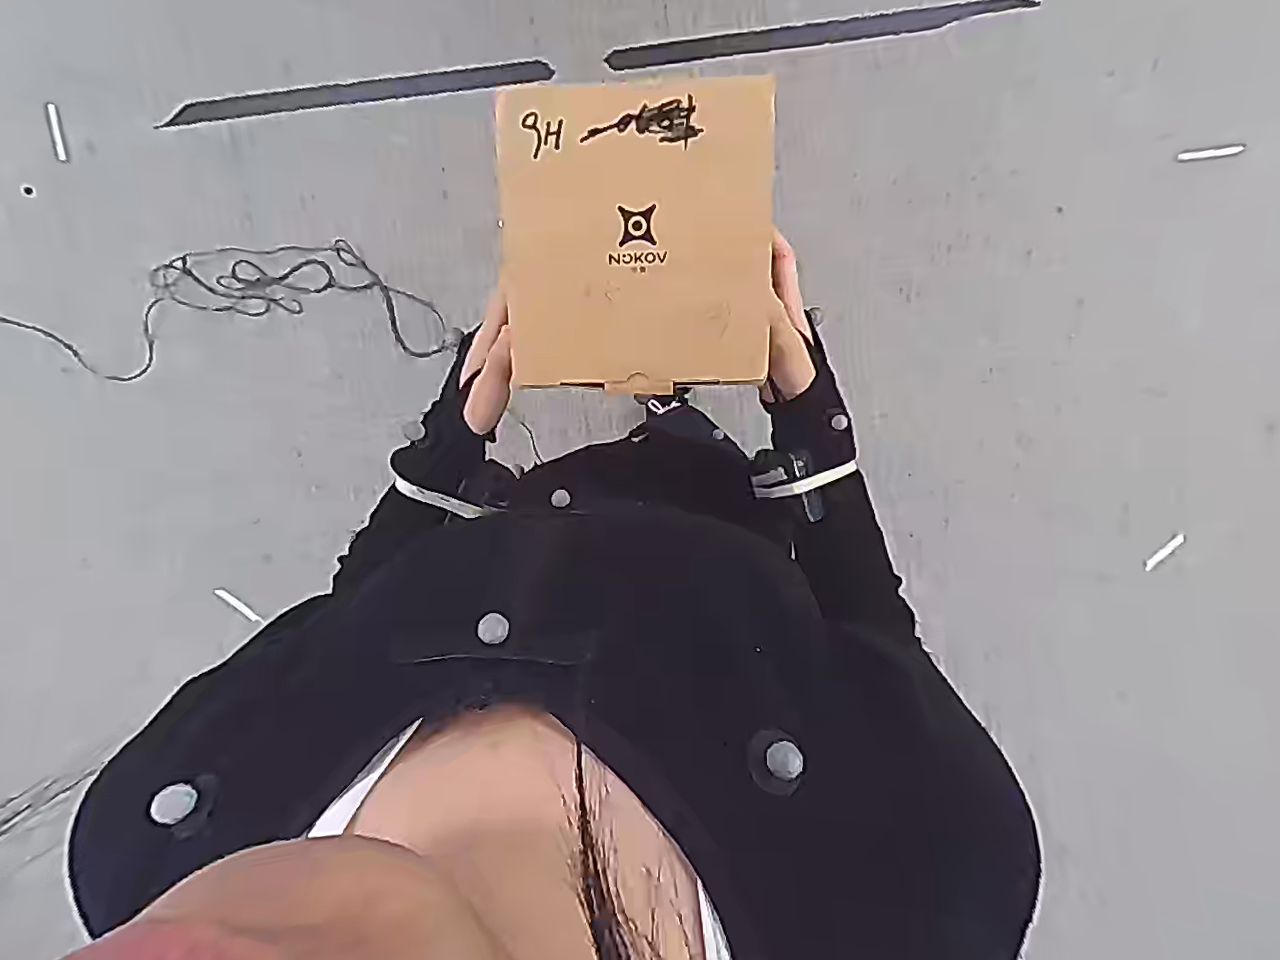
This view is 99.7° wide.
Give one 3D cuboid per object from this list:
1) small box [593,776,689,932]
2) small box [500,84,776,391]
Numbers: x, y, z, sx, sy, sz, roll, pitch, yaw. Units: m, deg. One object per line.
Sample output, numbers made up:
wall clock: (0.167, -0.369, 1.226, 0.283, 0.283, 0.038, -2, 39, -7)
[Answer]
small box: (0.002, 0.692, 1.013, 0.168, 0.176, 0.179, 0, 96, 0)
small box: (0.002, -0.163, 0.414, 0.168, 0.176, 0.179, -1, 102, 1)
